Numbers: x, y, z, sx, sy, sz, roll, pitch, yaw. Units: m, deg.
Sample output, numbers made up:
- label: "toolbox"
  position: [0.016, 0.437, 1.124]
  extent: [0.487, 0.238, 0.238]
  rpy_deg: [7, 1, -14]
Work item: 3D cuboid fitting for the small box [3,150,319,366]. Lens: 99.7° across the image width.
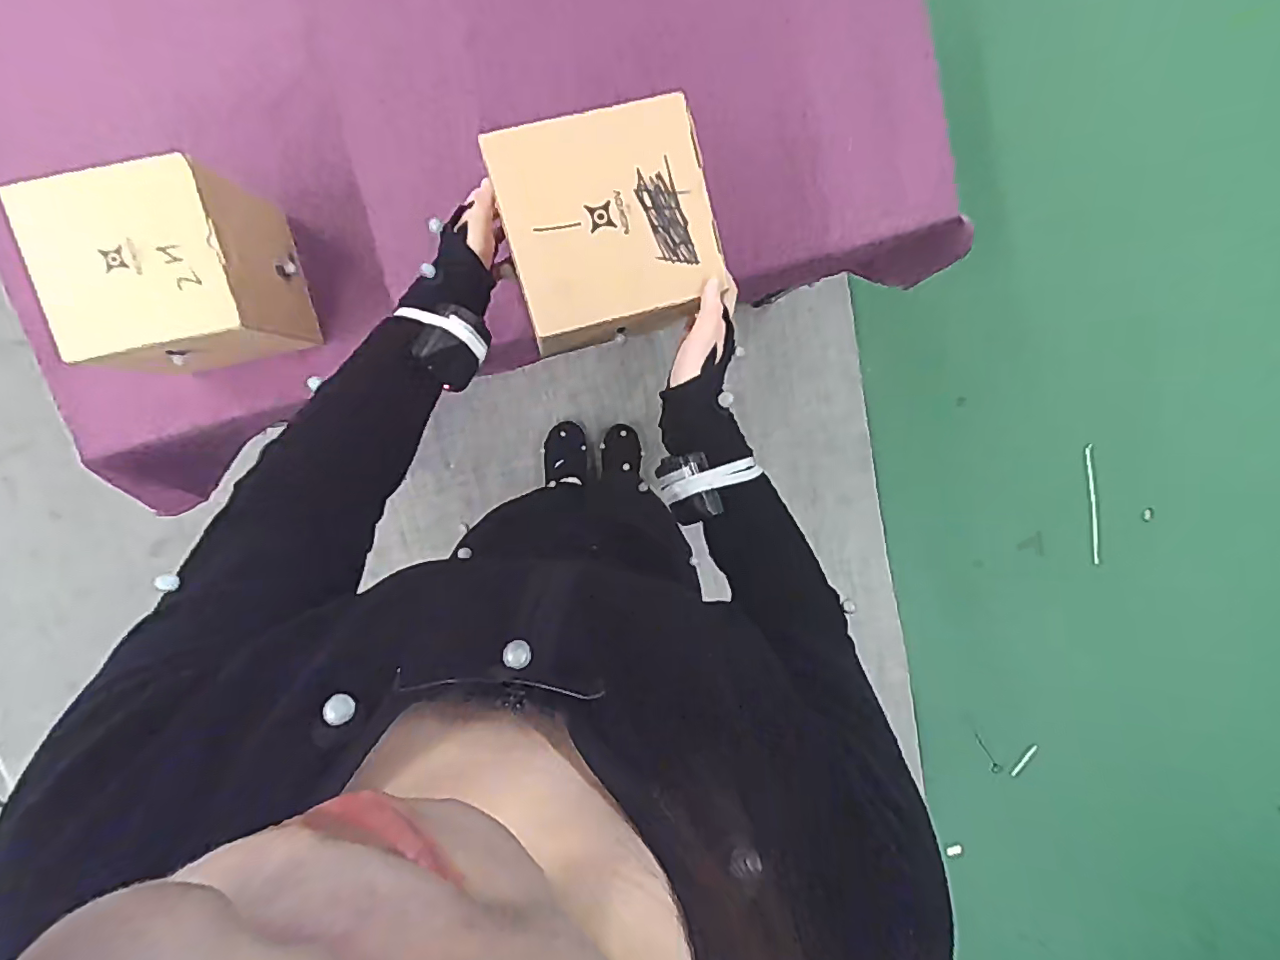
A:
- label: "small box"
  position: [-0.500, -0.227, 0.598]
  extent: [0.179, 0.176, 0.168]
  rpy_deg: [-13, 99, -3]
